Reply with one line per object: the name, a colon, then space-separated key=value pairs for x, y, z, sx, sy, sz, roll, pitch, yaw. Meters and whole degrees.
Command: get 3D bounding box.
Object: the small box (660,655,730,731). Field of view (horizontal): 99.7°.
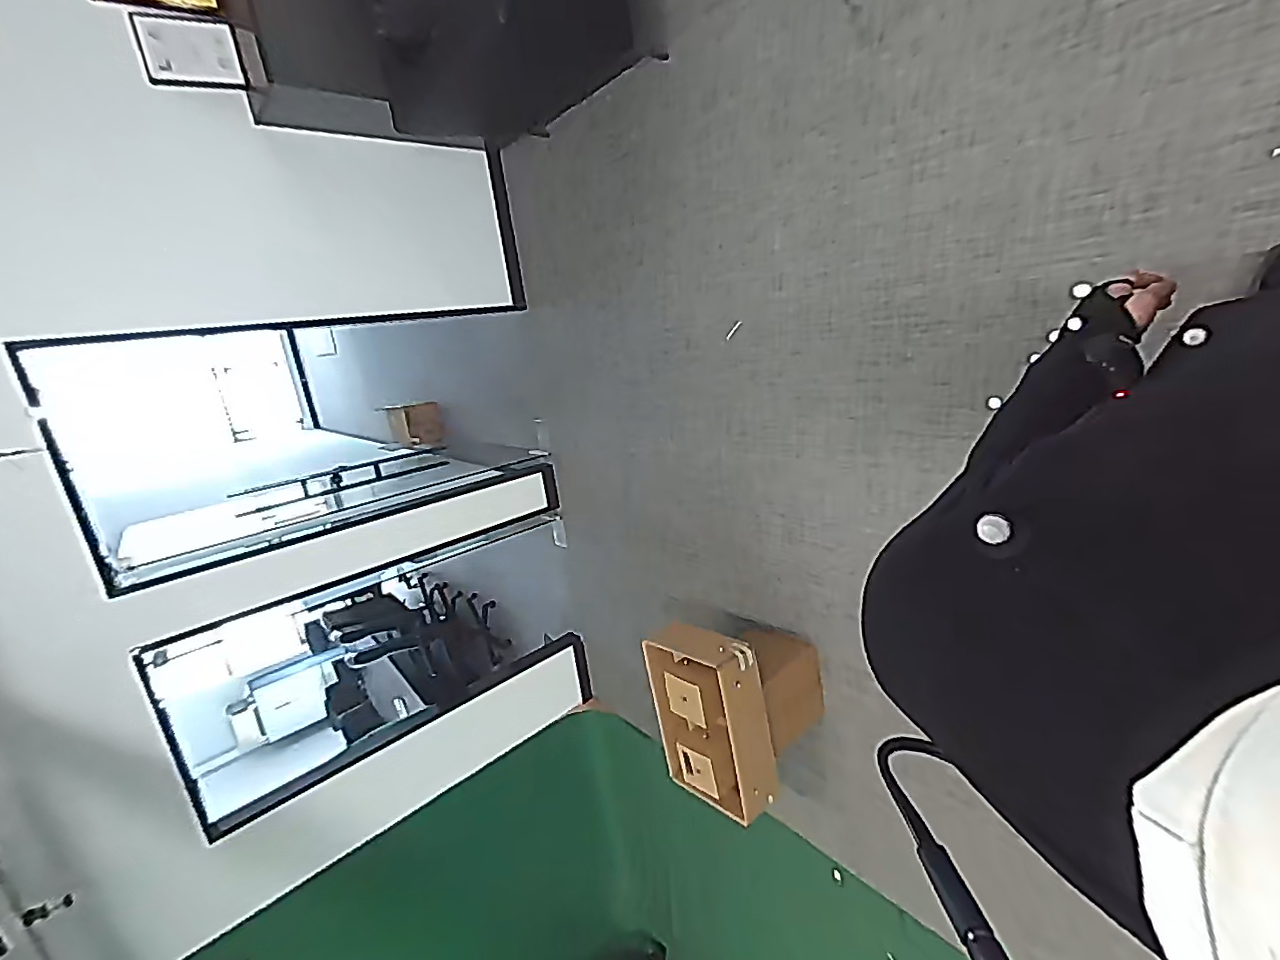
small box: x=0.198 y=0.754 z=1.938 sx=0.179 sy=0.176 sz=0.168 roll=4 pitch=108 yaw=49
